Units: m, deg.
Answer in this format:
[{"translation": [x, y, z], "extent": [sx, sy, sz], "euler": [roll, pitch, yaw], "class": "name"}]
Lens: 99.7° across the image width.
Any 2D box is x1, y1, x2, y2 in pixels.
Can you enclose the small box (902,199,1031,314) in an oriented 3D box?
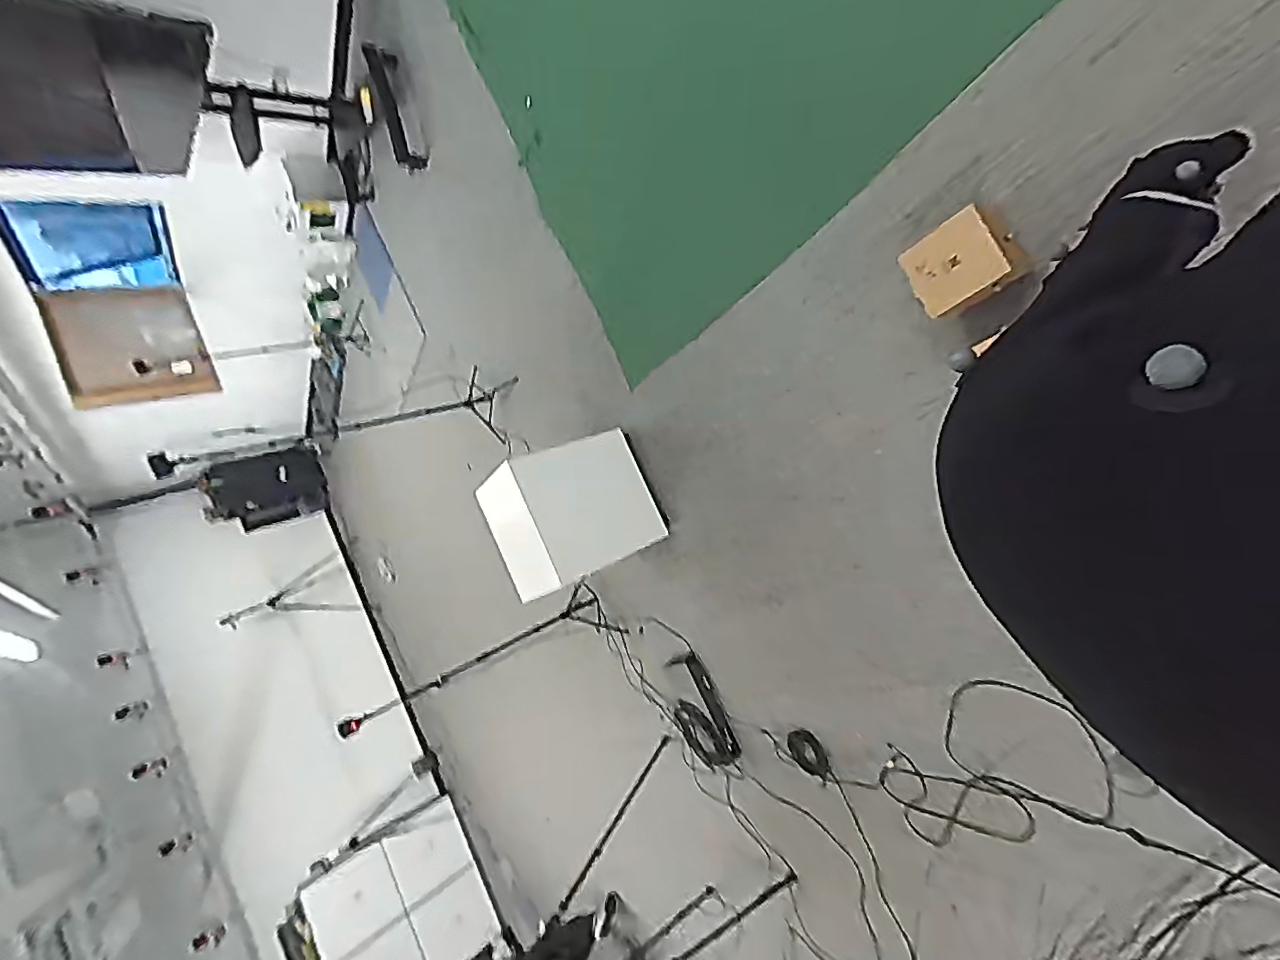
[{"translation": [0.733, -0.495, 1.206], "extent": [0.179, 0.176, 0.168], "euler": [-35, 78, 51], "class": "small box"}]
